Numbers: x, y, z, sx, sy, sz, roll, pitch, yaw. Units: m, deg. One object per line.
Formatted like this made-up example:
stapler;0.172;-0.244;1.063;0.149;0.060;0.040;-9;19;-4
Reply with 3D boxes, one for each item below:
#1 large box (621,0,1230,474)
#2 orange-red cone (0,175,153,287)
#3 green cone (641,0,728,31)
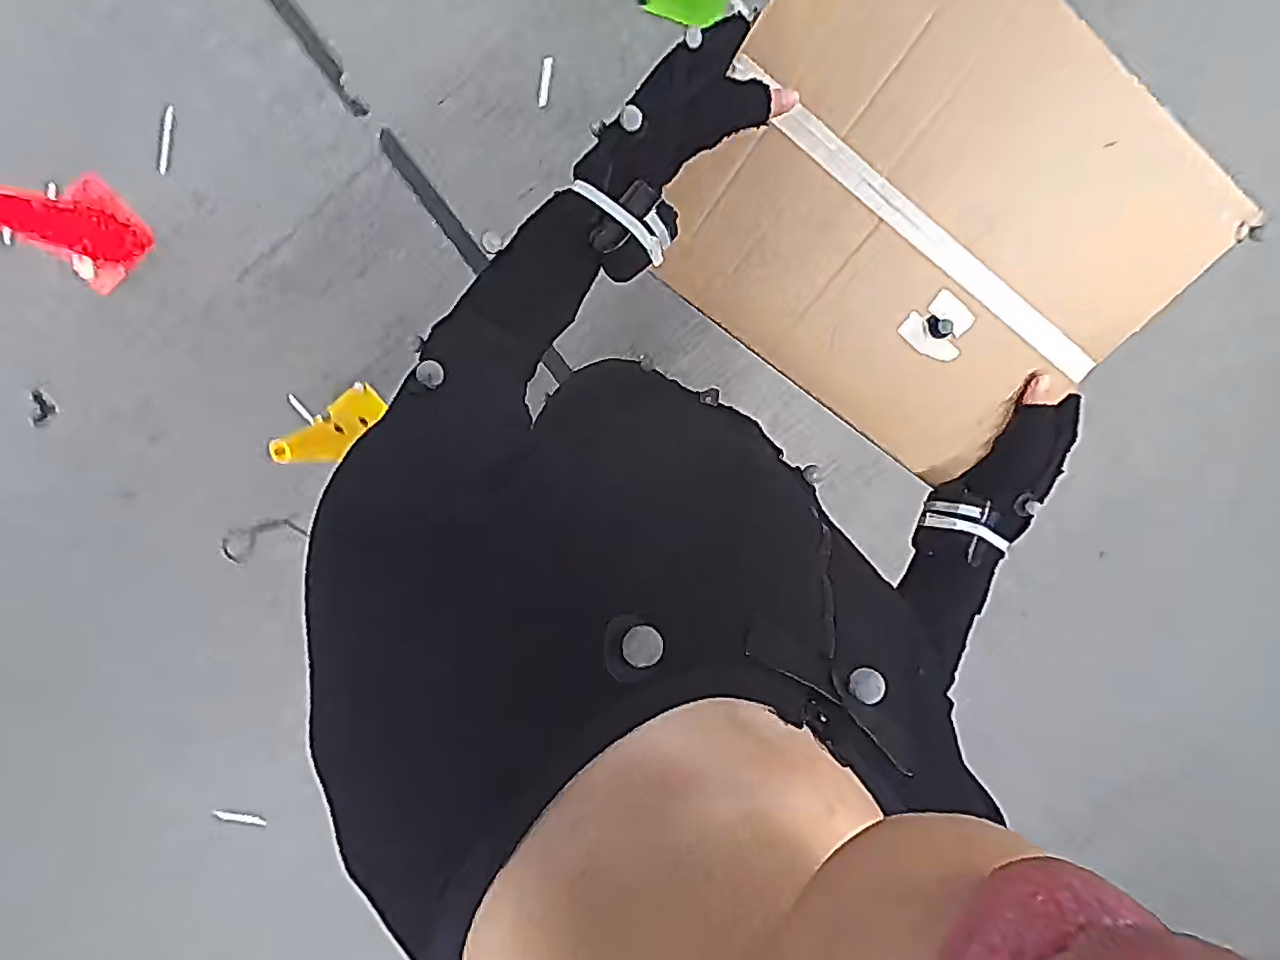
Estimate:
large box;0.234;-0.280;0.587;0.408;0.320;0.320;32;115;-11
orange-red cone;-1.297;-0.560;1.136;0.198;0.360;0.199;-39;102;6
green cone;0.128;-1.136;1.077;0.200;0.368;0.202;14;99;-6
